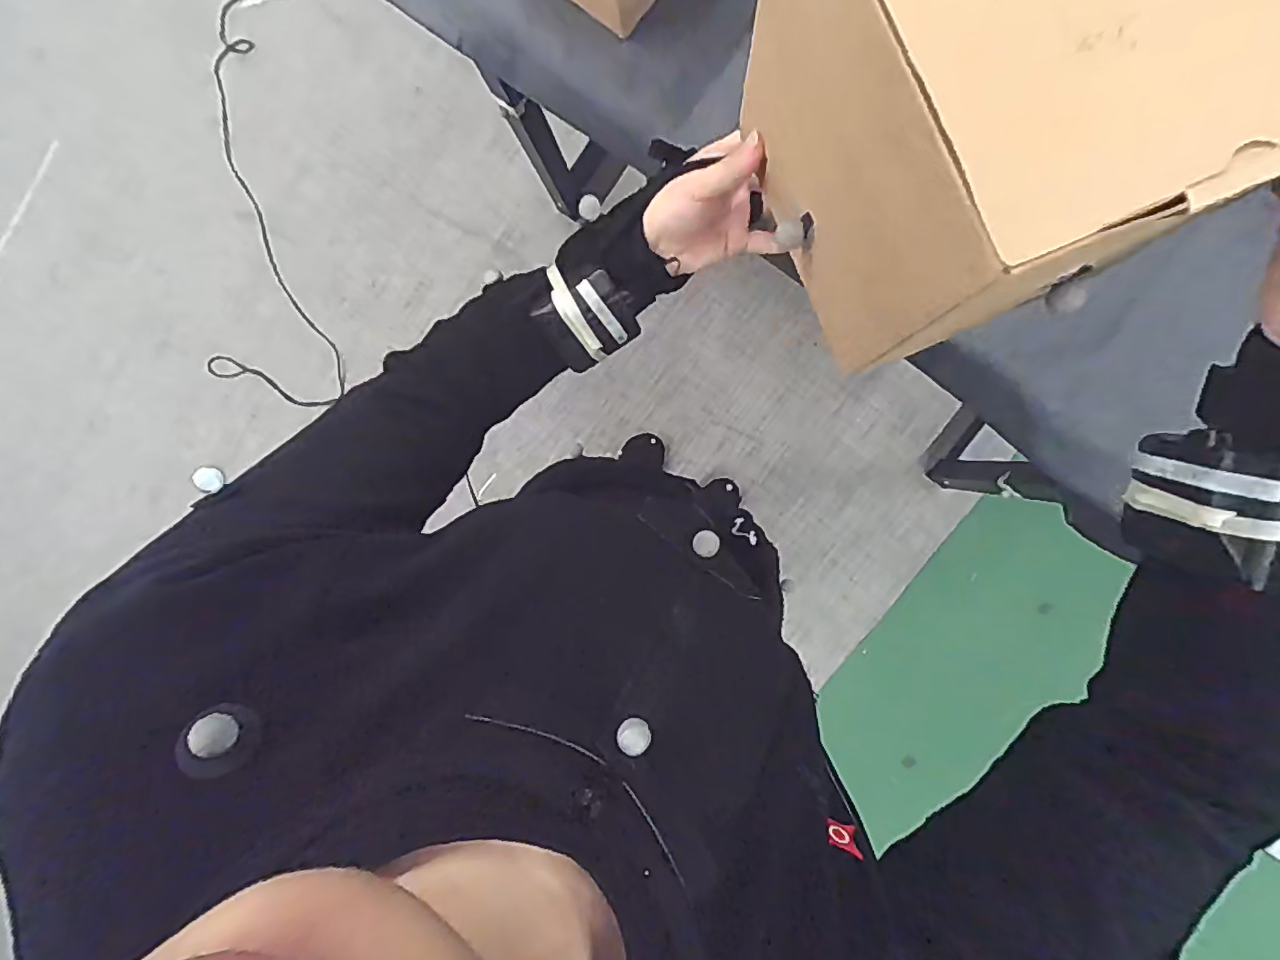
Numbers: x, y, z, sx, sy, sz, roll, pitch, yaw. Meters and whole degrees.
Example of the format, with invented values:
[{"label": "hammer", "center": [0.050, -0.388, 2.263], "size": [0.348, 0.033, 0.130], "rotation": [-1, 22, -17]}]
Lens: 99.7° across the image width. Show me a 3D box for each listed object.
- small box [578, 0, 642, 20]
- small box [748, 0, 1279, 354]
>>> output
[{"label": "small box", "center": [-0.039, -0.612, 0.525], "size": [0.179, 0.176, 0.168], "rotation": [39, 94, 2]}, {"label": "small box", "center": [0.165, -0.174, 0.255], "size": [0.168, 0.176, 0.179], "rotation": [-24, 88, 3]}]
